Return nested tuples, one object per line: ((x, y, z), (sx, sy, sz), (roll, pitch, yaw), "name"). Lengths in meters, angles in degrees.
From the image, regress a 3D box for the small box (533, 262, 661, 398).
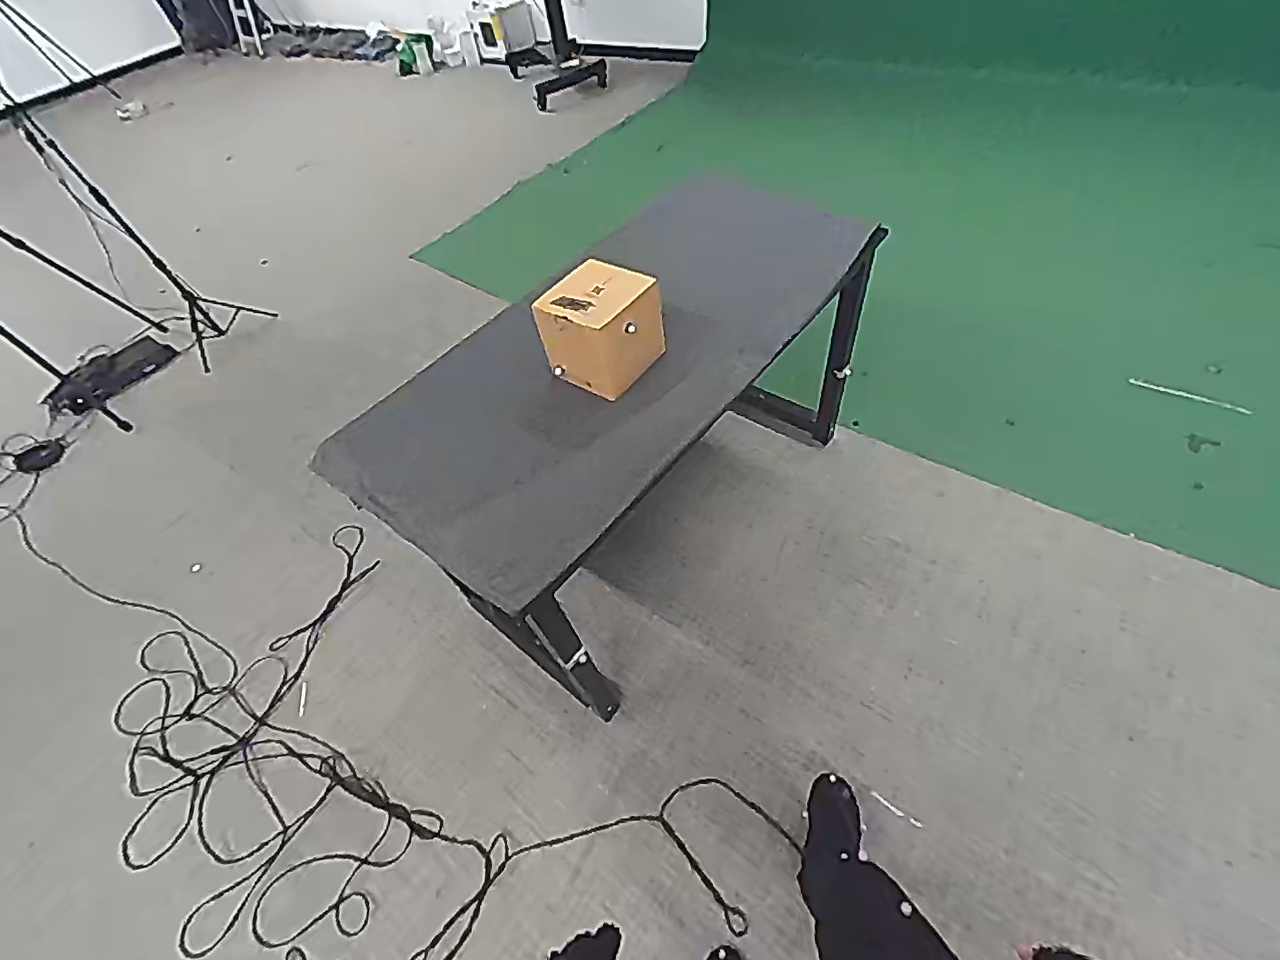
((-0.072, -0.288, 1.053), (0.168, 0.176, 0.179), (27, 61, 27), "small box")
